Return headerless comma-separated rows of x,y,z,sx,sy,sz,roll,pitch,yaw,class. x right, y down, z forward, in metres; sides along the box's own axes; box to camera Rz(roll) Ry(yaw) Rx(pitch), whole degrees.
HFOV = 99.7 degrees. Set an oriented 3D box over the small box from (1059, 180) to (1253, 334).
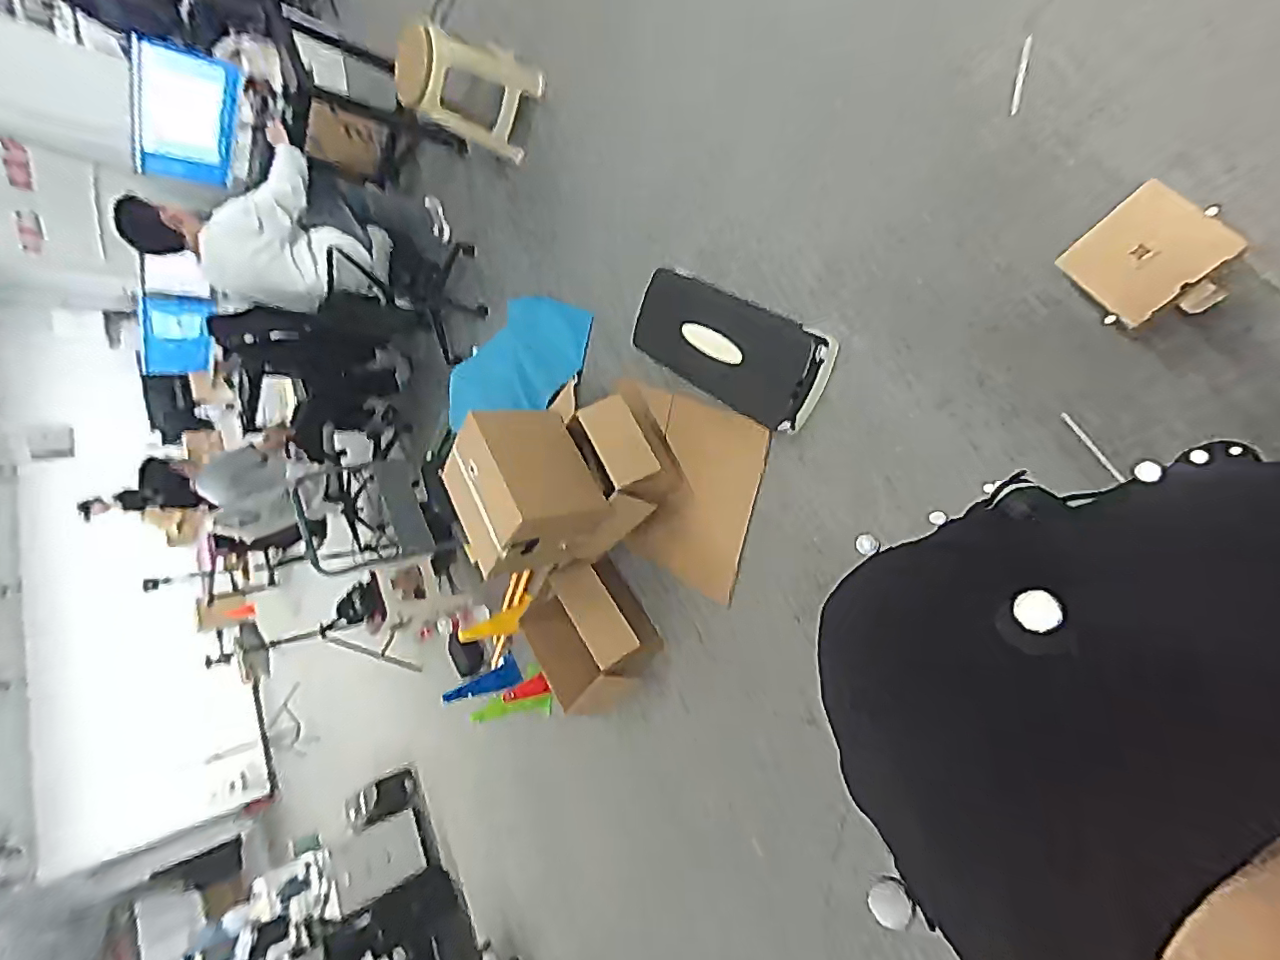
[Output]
0.879,-0.372,0.936,0.168,0.176,0.179,-49,62,36,small box
